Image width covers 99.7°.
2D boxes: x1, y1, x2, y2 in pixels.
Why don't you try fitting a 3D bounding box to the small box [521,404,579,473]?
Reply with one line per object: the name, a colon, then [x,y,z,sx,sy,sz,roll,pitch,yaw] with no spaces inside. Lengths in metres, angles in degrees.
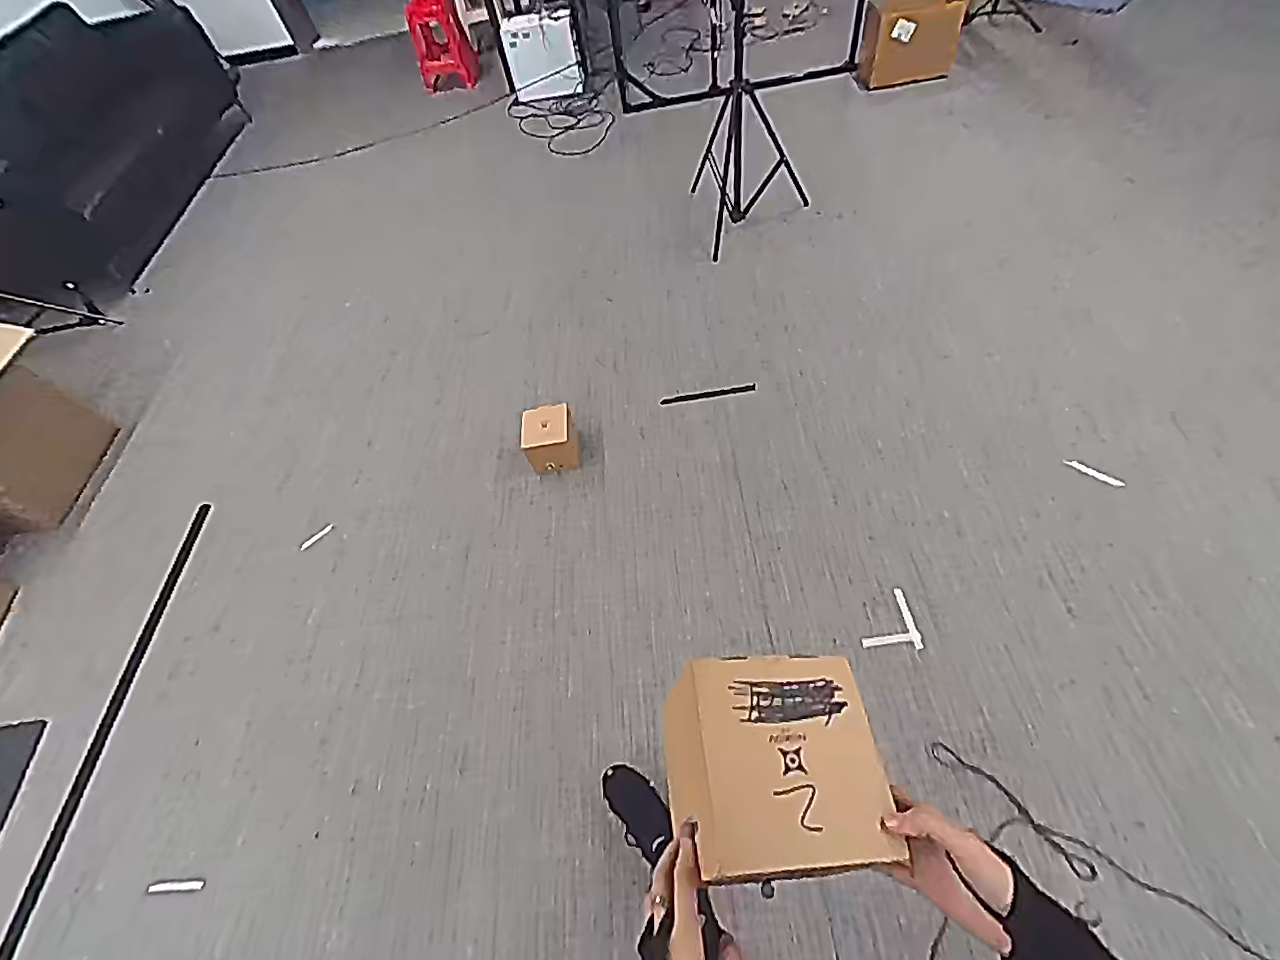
small box: [-0.321,-0.148,1.957,0.168,0.176,0.179,-9,55,5]
